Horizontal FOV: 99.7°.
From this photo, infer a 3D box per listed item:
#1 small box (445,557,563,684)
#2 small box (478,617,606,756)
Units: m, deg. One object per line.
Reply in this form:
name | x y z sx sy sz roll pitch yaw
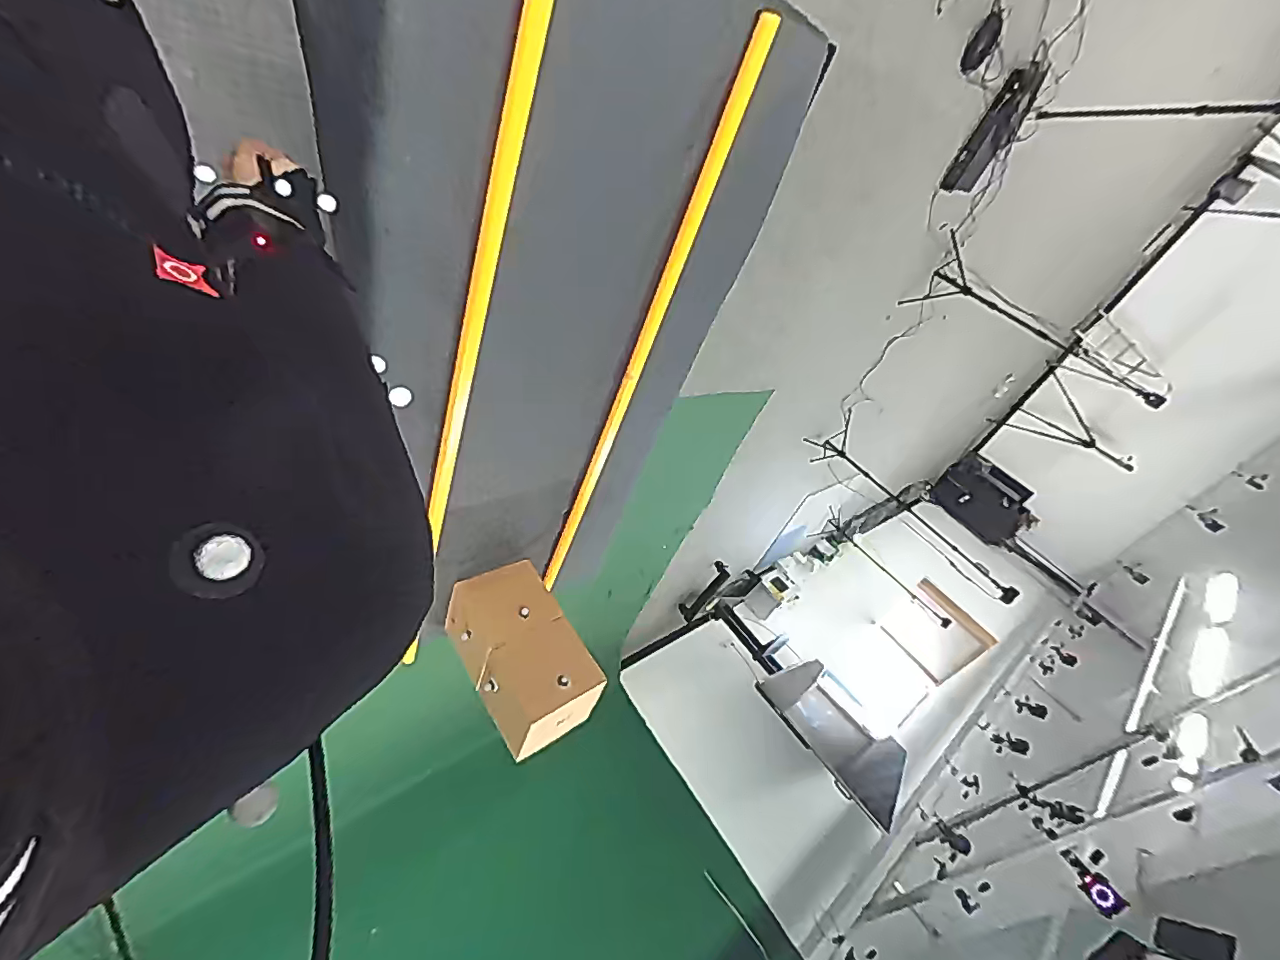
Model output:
small box | -0.298 0.295 1.161 0.179 0.176 0.168 -15 142 -41
small box | -0.202 0.406 1.090 0.179 0.176 0.168 -16 142 -39
